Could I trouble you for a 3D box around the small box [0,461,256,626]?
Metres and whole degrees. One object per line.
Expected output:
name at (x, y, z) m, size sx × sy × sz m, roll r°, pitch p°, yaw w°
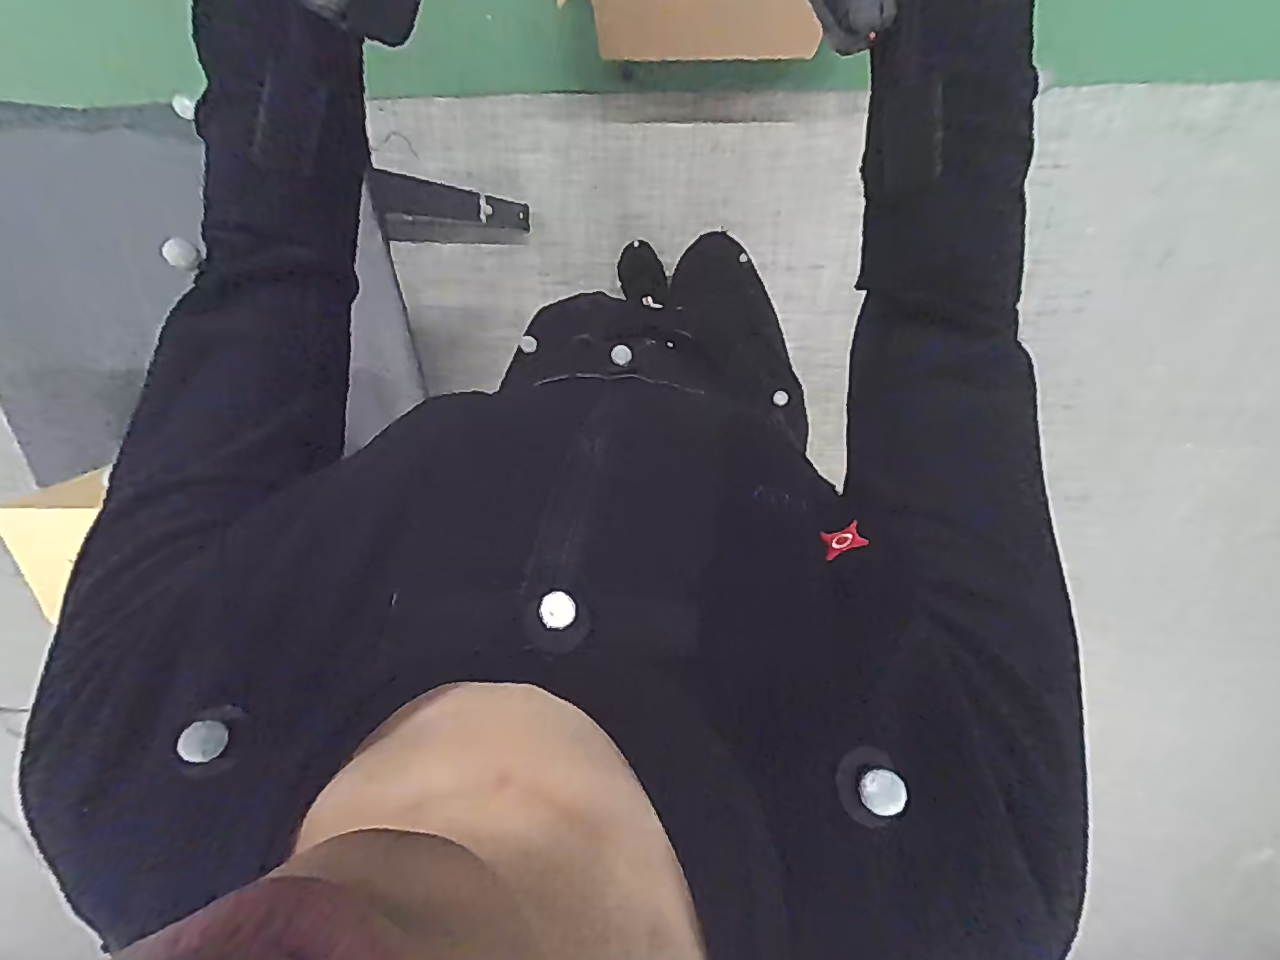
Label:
small box at (-0.689, 0.079, 0.751) m, size 0.168 × 0.176 × 0.179 m, roll 0°, pitch 114°, yaw 5°
